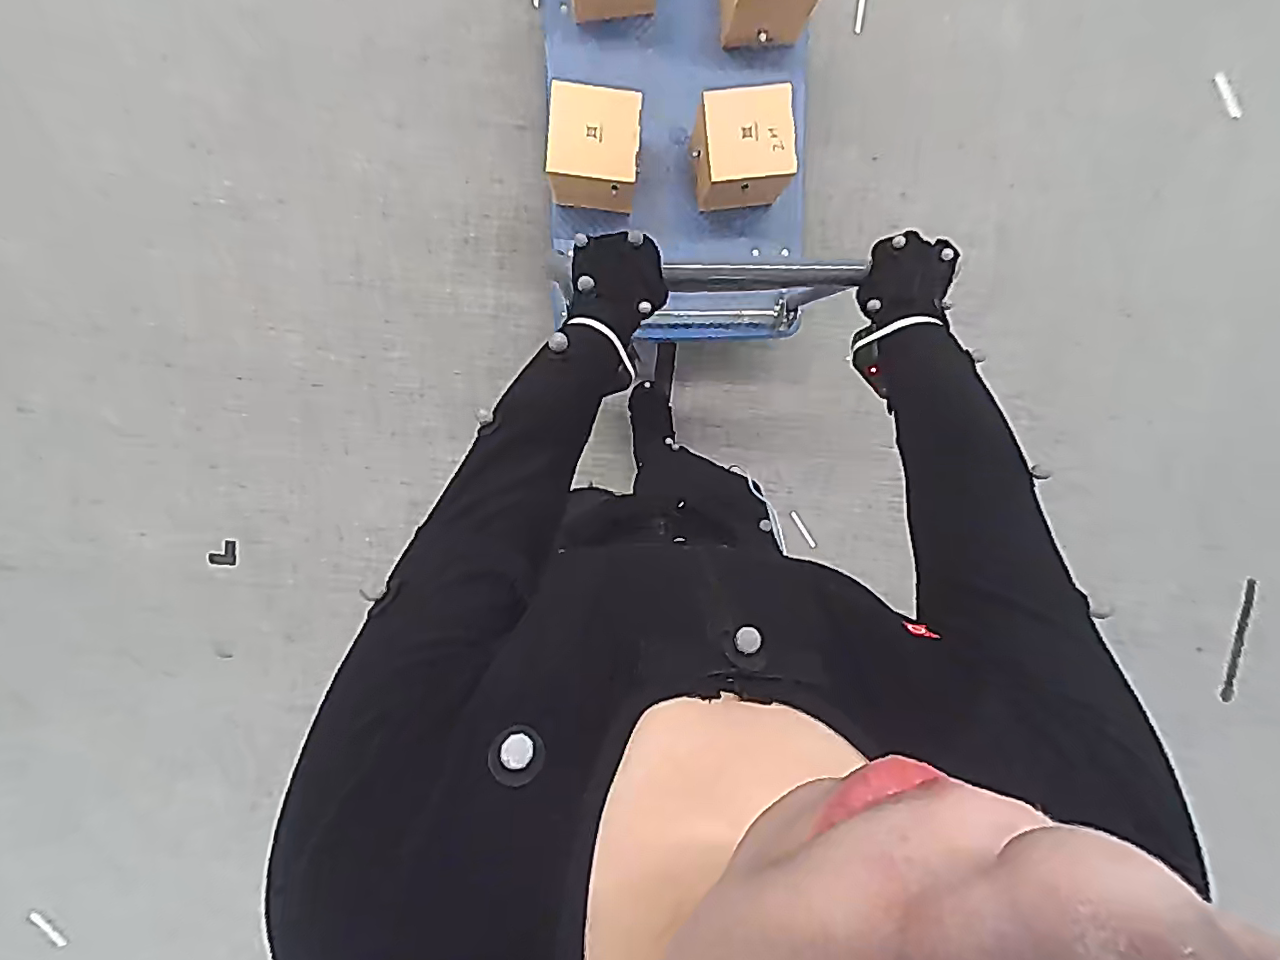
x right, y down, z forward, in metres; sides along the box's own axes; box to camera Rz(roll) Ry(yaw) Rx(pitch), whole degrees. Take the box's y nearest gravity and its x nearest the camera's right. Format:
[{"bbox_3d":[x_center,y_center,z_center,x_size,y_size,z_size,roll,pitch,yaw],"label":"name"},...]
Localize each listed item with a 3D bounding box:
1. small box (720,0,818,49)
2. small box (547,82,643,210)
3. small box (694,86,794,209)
[{"bbox_3d":[0.258,-1.023,1.095,0.168,0.176,0.179,-4,99,-2],"label":"small box"},{"bbox_3d":[-0.094,-0.682,1.124,0.179,0.176,0.168,5,97,-5],"label":"small box"},{"bbox_3d":[0.210,-0.689,1.140,0.179,0.176,0.168,-7,99,-2],"label":"small box"}]
